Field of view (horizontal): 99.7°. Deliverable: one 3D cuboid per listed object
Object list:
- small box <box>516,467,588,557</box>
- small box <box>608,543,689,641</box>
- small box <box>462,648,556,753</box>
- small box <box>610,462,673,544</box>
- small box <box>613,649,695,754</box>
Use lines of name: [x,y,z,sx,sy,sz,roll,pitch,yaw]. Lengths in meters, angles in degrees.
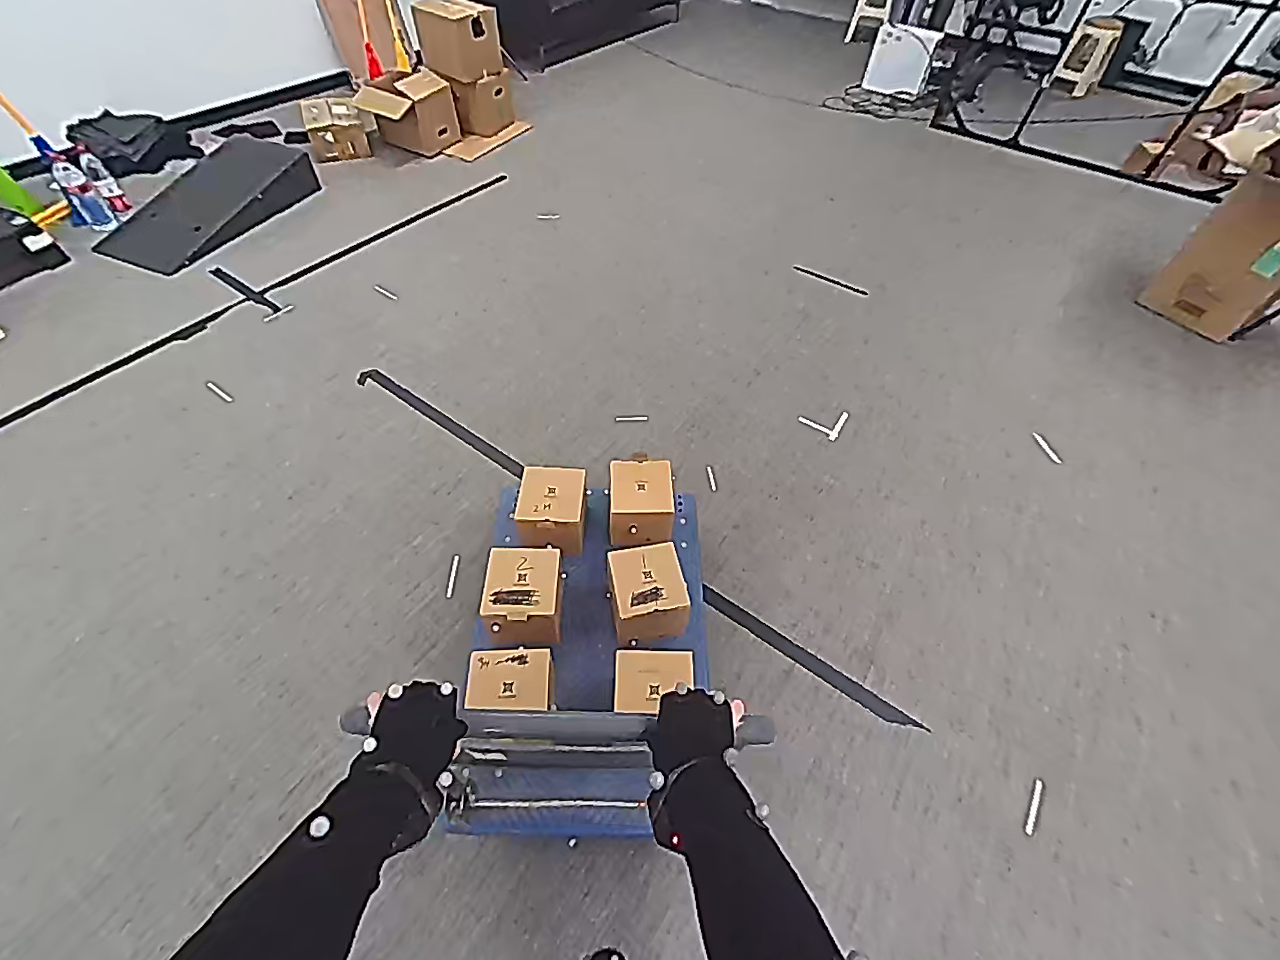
small box: [-0.232,0.087,1.467,0.168,0.176,0.179,3,52,-1]
small box: [0.015,0.281,1.332,0.168,0.176,0.179,-7,52,-10]
small box: [-0.270,0.477,1.157,0.168,0.176,0.179,0,52,-5]
small box: [0.000,0.068,1.501,0.168,0.176,0.179,0,52,-4]
small box: [0.028,0.484,1.173,0.168,0.176,0.179,3,51,-2]
